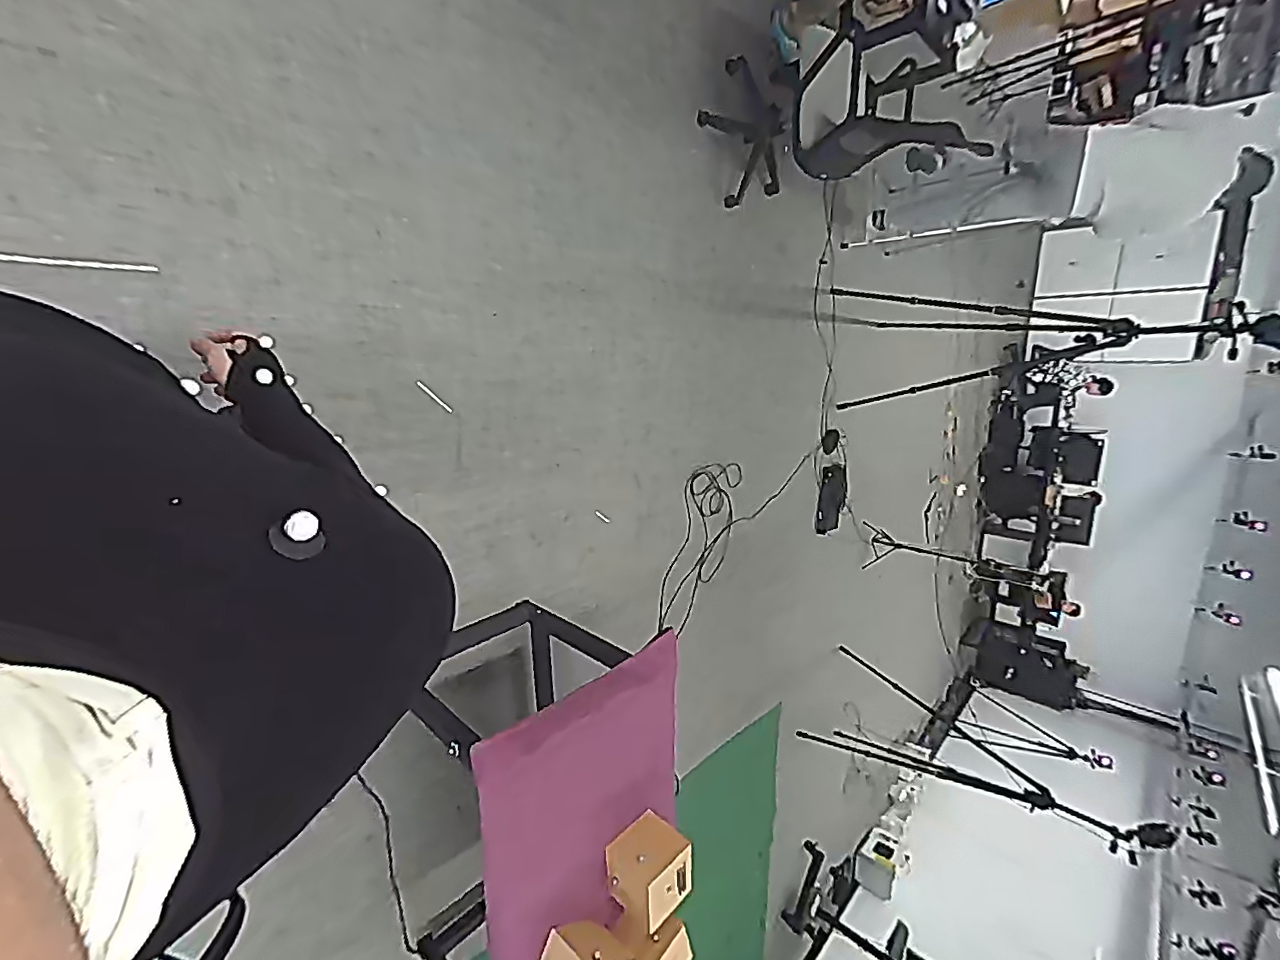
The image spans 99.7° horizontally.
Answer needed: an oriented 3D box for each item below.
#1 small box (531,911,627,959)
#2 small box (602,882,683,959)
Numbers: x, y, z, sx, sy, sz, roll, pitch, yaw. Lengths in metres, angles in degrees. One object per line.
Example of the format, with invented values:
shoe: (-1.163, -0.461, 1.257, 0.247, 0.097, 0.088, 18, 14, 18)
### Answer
small box: (-0.170, 1.253, 1.383, 0.179, 0.176, 0.168, 36, 72, -47)
small box: (-0.002, 1.353, 1.593, 0.179, 0.176, 0.168, -32, 120, -38)
